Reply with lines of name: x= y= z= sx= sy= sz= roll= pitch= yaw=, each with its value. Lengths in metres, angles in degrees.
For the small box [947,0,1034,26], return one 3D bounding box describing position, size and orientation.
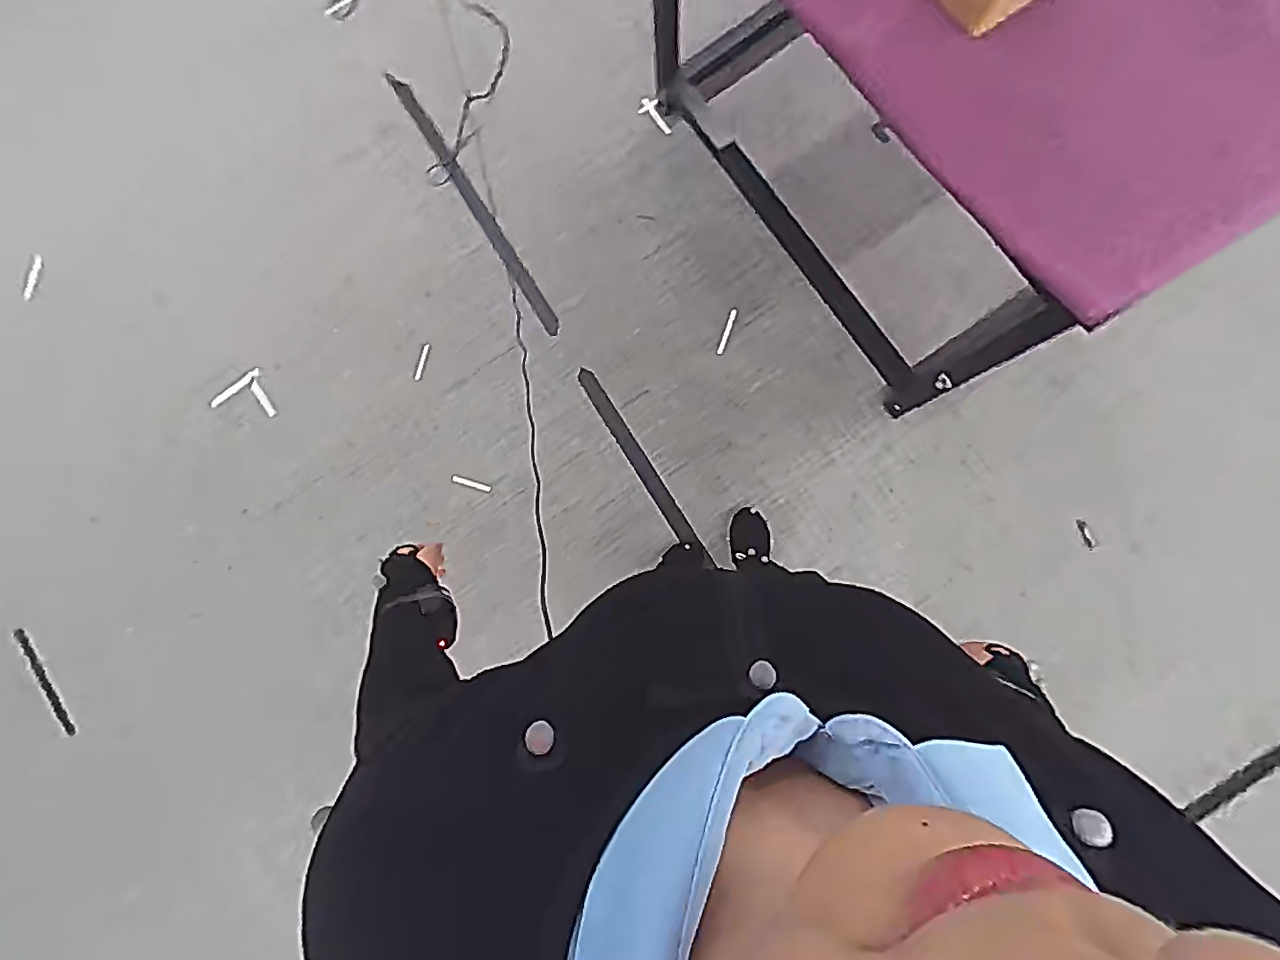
small box: x=0.536 y=-0.795 z=0.758 sx=0.168 sy=0.176 sz=0.179 roll=-33 pitch=83 yaw=0
